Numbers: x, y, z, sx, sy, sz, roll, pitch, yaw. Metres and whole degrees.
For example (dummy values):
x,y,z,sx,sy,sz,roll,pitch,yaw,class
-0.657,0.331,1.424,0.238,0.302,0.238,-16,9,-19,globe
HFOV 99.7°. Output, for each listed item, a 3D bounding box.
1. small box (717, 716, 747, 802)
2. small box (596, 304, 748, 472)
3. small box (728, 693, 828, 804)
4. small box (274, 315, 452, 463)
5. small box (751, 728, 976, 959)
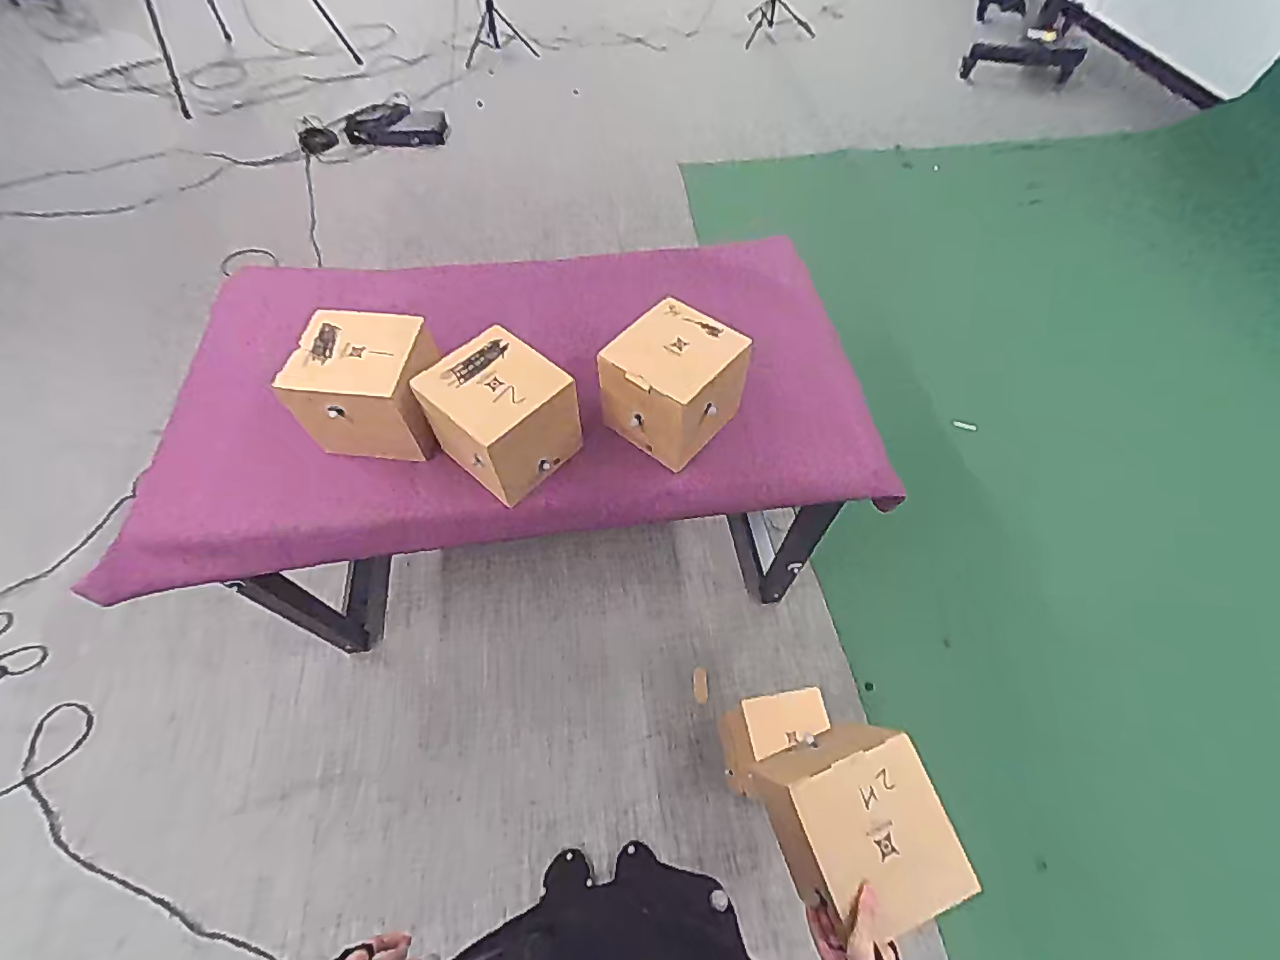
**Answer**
x,y,z,sx,sy,sz,roll,pitch,yaw,class
0.280,0.641,1.253,0.179,0.176,0.168,-5,58,-5,small box
0.052,-0.145,0.882,0.168,0.176,0.179,36,64,20,small box
0.288,0.556,1.115,0.168,0.176,0.179,-8,60,-6,small box
-0.430,-0.142,0.875,0.179,0.176,0.168,5,58,1,small box
0.264,0.436,0.684,0.168,0.176,0.179,-17,72,-12,small box
